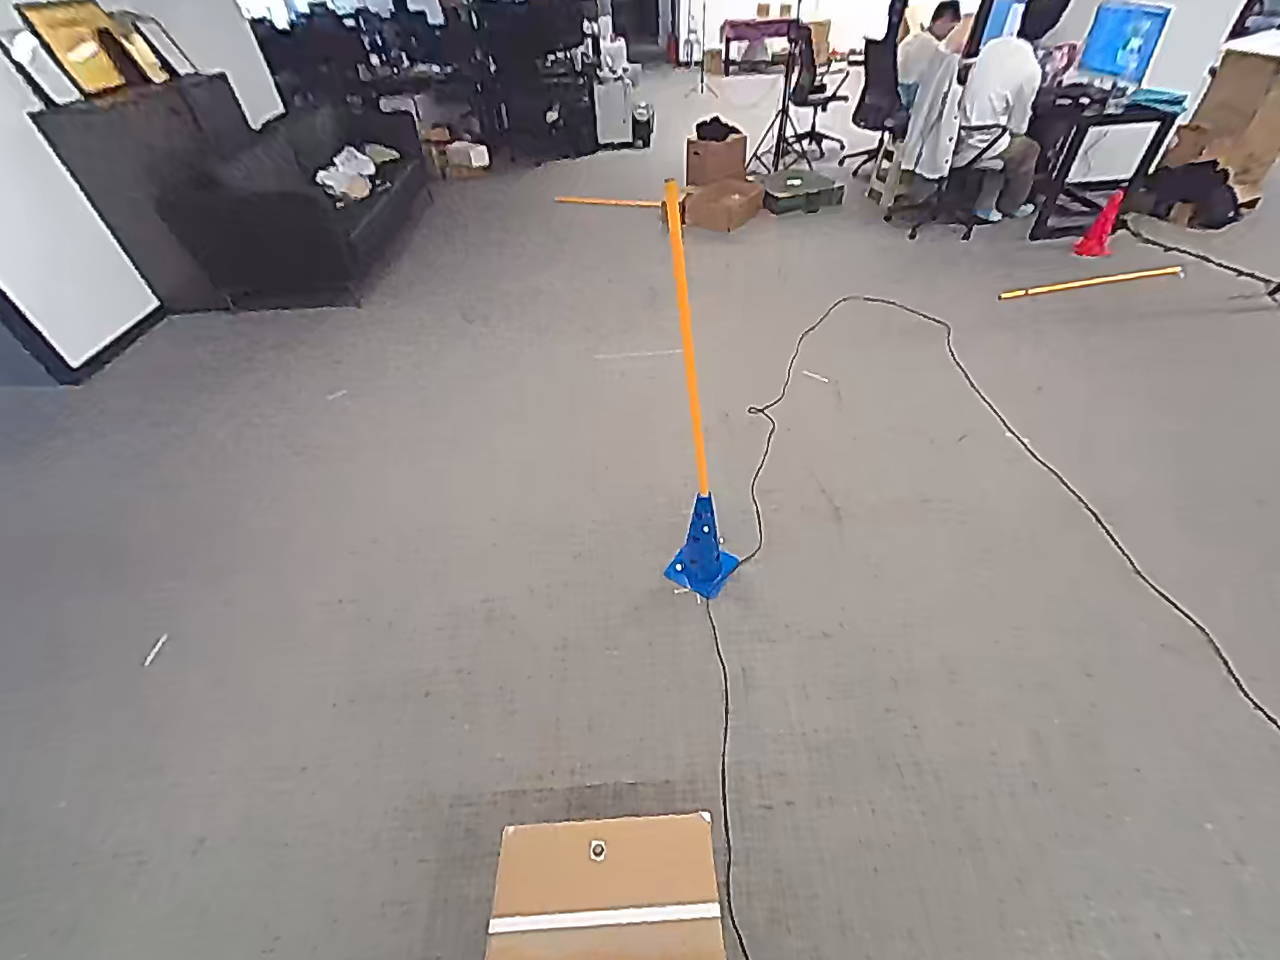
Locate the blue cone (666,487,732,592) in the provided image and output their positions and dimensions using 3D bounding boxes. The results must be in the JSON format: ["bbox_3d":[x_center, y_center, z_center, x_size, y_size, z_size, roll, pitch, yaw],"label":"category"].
[{"bbox_3d":[0.193,0.169,1.726,0.192,0.380,0.193,20,49,24],"label":"blue cone"}]
